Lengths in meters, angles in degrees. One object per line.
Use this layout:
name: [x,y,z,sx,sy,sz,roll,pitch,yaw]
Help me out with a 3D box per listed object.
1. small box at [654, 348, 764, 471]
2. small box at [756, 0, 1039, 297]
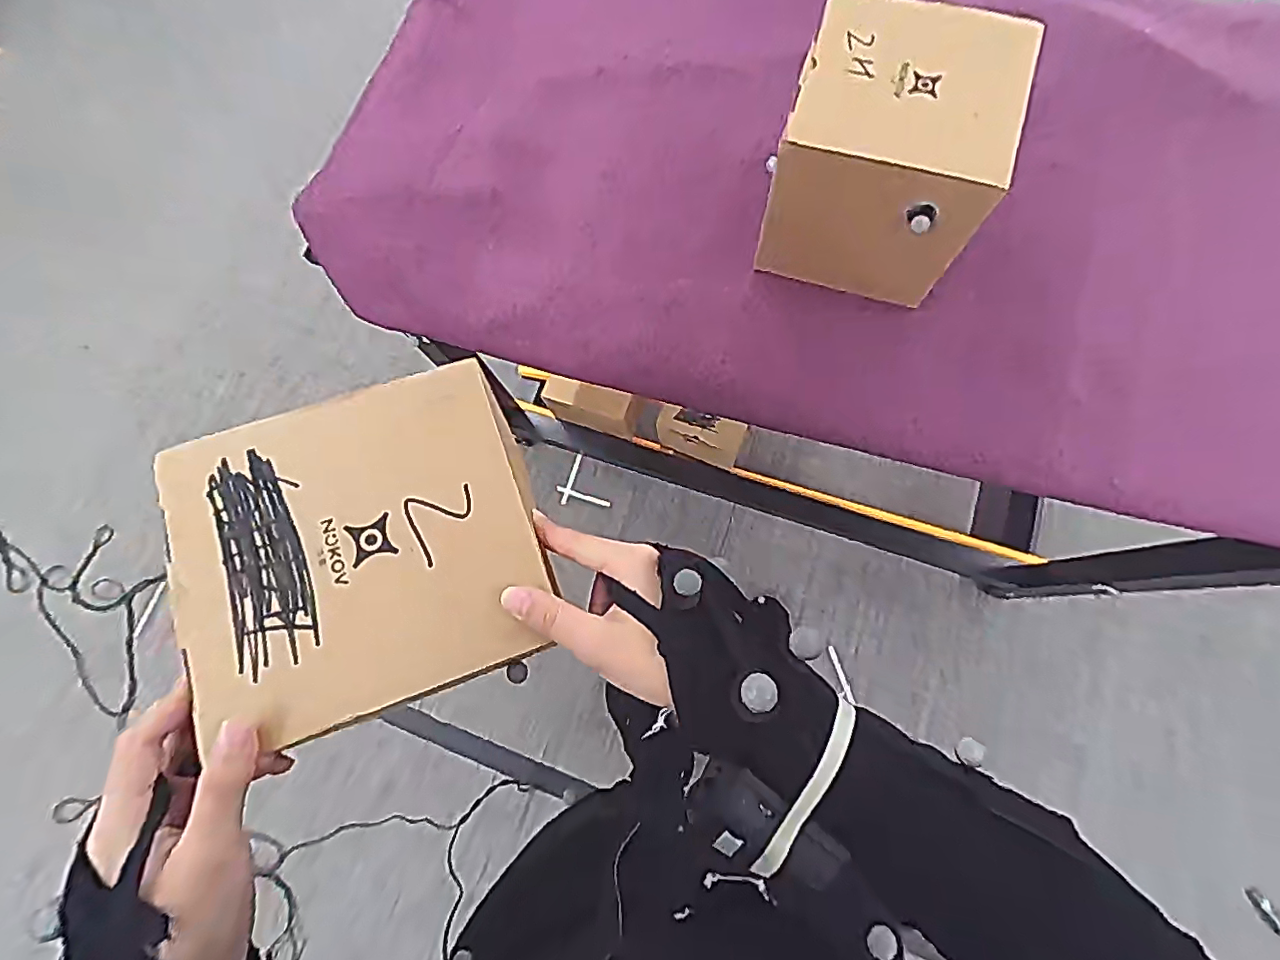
small box: [0.141,-0.137,1.121,0.168,0.176,0.179,23,79,9]
small box: [0.225,-0.301,0.515,0.179,0.176,0.168,18,77,8]
